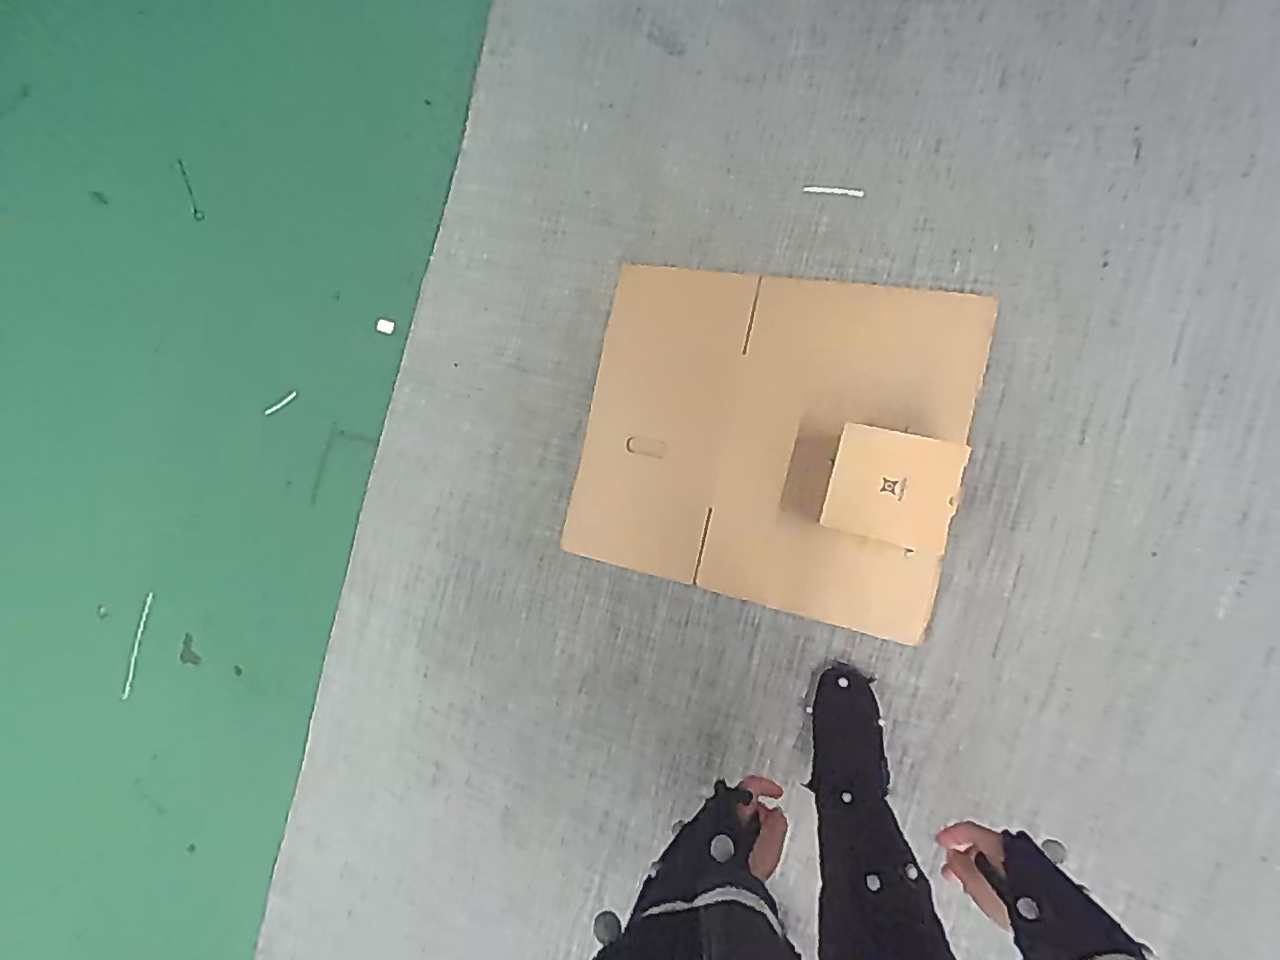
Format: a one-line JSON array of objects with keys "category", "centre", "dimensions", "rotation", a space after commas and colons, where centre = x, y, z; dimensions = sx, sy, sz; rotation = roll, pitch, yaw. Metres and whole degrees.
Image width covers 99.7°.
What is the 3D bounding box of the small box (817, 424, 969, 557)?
[{"category": "small box", "centre": [0.392, 0.019, 0.869], "dimensions": [0.179, 0.176, 0.168], "rotation": [15, 91, 18]}]
